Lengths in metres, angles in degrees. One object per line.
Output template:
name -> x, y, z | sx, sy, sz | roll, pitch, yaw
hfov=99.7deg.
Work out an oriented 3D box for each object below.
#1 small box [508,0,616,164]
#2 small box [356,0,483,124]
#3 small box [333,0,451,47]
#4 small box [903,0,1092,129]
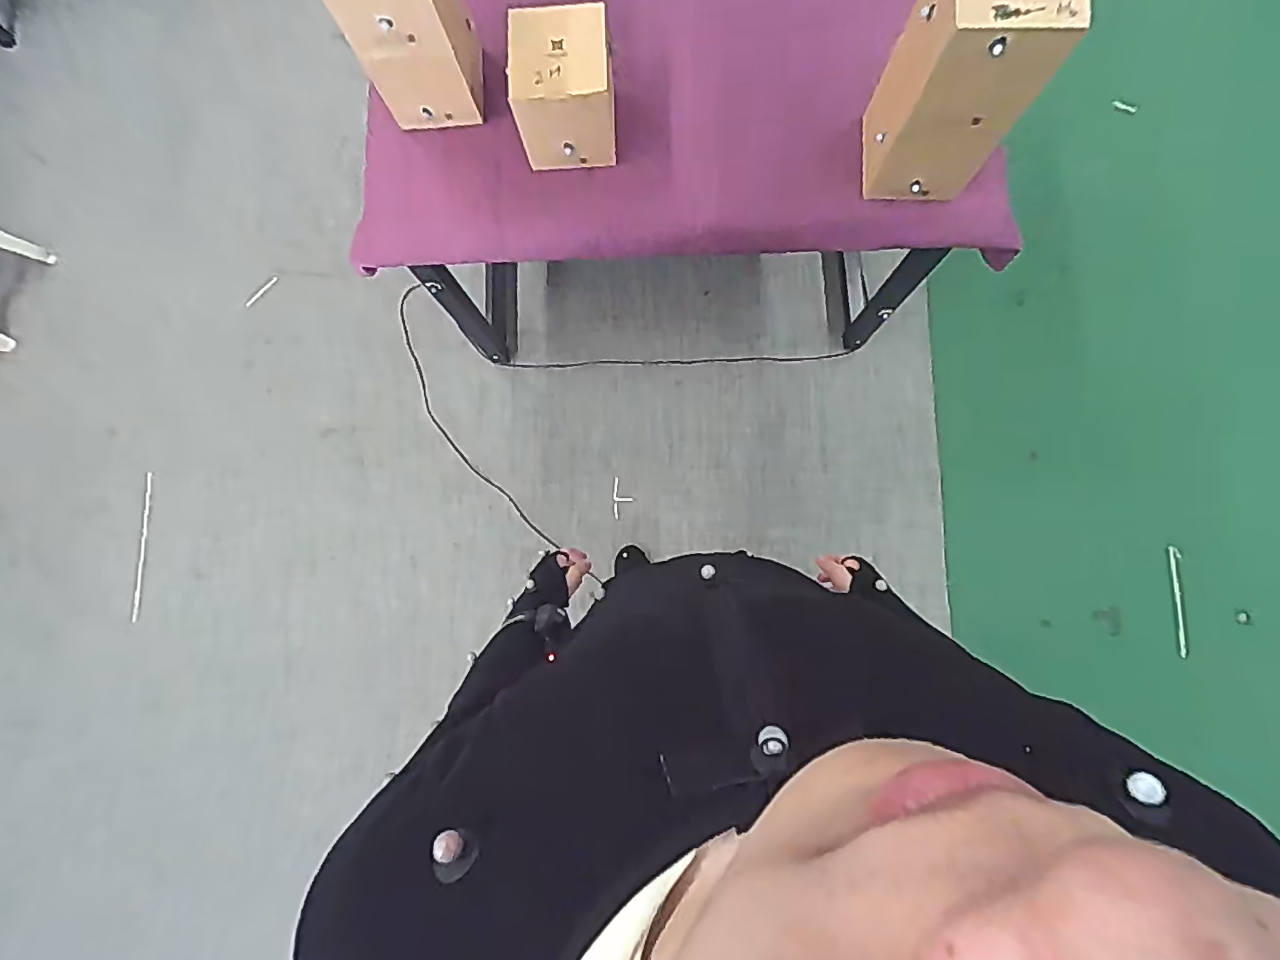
small box -> -0.133, -0.707, 0.970 | 0.168, 0.176, 0.179 | -2, 82, 3
small box -> -0.396, -0.801, 0.995 | 0.168, 0.176, 0.179 | -3, 83, 2
small box -> -0.402, -0.823, 0.833 | 0.168, 0.176, 0.179 | -4, 83, 3
small box -> 0.489, -0.642, 0.766 | 0.168, 0.176, 0.179 | 3, 81, 5
